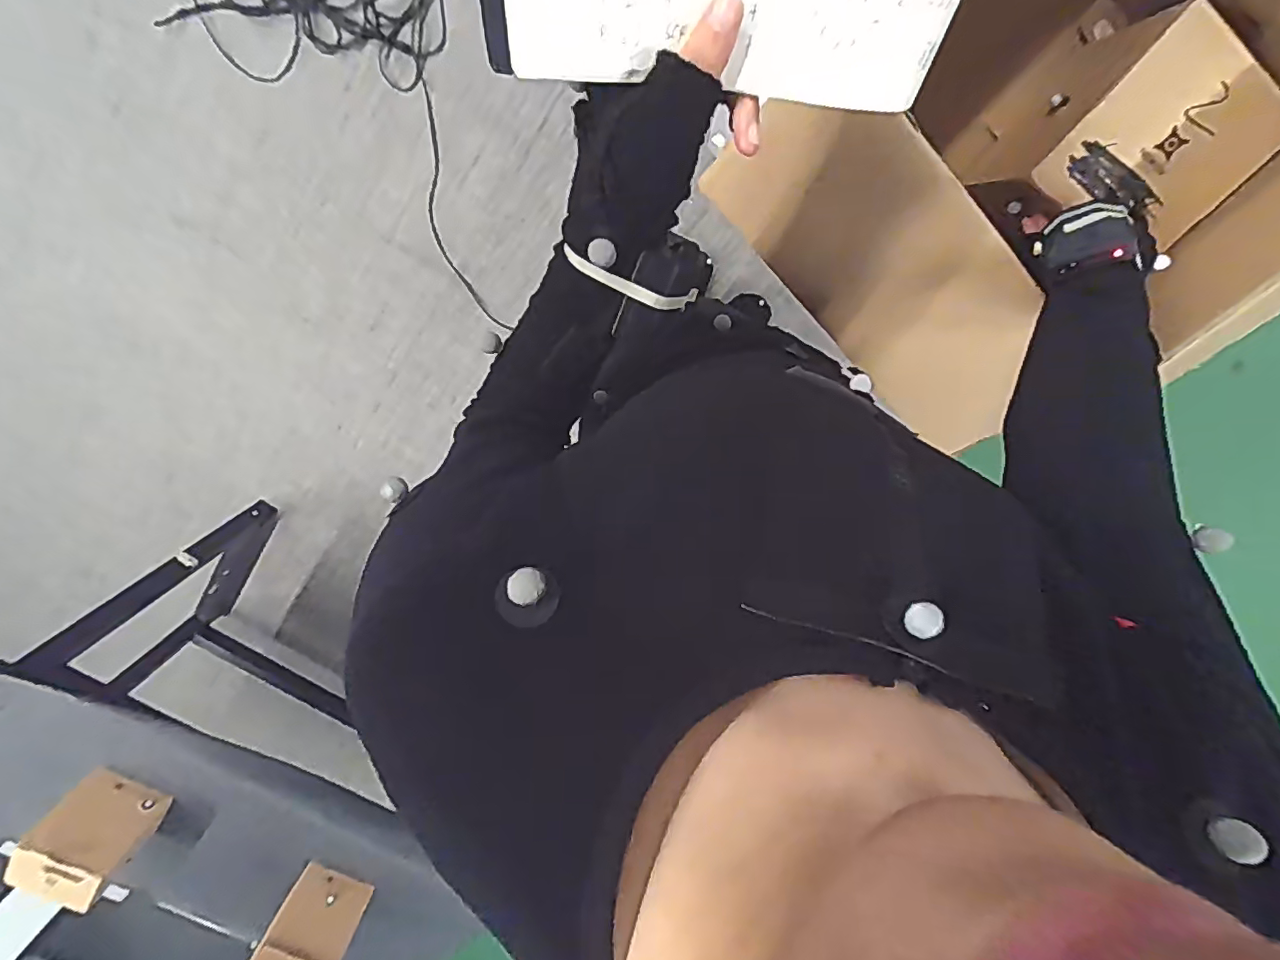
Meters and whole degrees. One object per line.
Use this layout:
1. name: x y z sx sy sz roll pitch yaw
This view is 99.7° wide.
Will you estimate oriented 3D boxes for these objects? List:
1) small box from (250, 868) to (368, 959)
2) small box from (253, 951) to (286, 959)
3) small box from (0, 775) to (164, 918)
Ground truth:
1. small box: -0.752 1.032 1.225 0.168 0.176 0.179 32 114 -11
2. small box: -0.760 1.095 1.075 0.168 0.176 0.179 33 113 -10
3. small box: -1.153 0.755 1.125 0.168 0.176 0.179 35 114 -12
